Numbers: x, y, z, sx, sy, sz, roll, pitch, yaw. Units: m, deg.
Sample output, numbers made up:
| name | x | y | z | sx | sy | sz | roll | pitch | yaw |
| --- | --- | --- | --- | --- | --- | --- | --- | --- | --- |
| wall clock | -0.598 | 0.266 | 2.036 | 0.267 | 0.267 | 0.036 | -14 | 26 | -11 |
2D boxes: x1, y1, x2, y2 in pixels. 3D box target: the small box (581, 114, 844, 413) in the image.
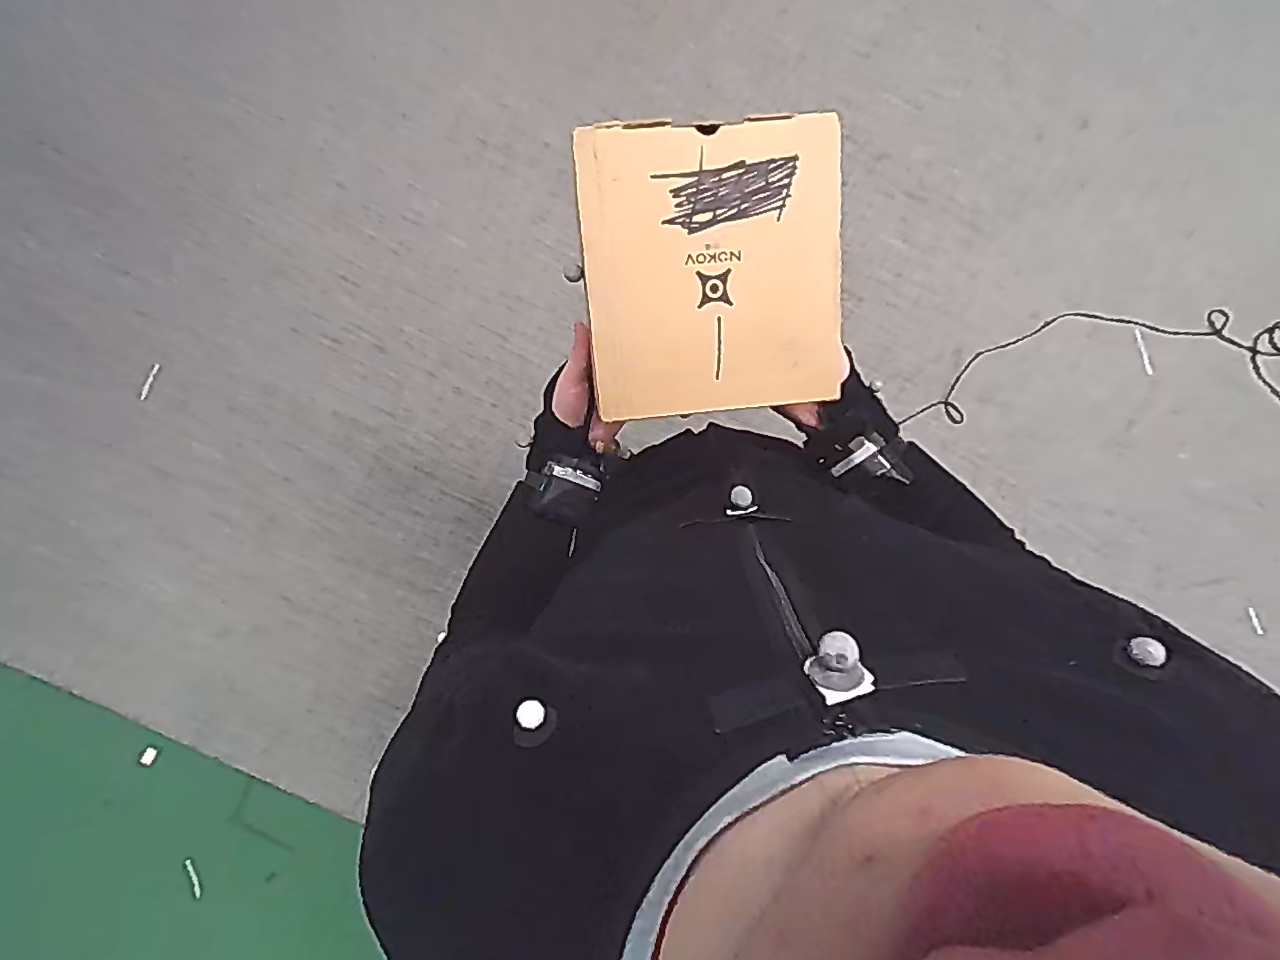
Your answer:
| name | x | y | z | sx | sy | sz | roll | pitch | yaw |
| --- | --- | --- | --- | --- | --- | --- | --- | --- | --- |
| small box | 0.042 | -0.154 | 0.424 | 0.168 | 0.176 | 0.179 | -5 | 105 | -4 |
